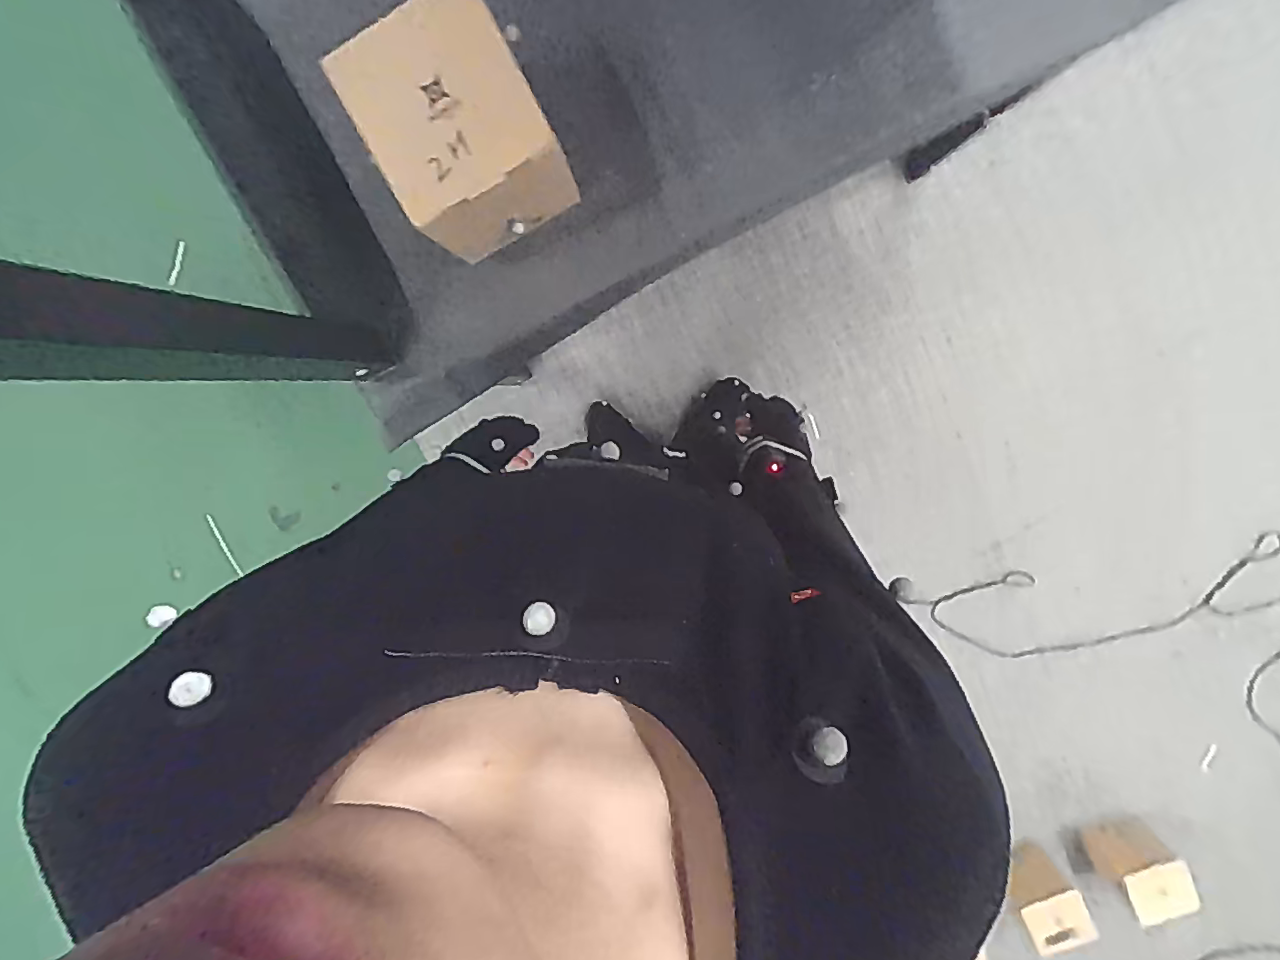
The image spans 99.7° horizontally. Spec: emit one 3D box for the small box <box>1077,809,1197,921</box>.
[{"bbox_3d":[1.423,1.101,1.558,0.168,0.176,0.179,-25,98,5],"label":"small box"}]

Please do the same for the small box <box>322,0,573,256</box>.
[{"bbox_3d":[-0.192,-0.380,0.596,0.168,0.176,0.179,-28,98,6],"label":"small box"}]
